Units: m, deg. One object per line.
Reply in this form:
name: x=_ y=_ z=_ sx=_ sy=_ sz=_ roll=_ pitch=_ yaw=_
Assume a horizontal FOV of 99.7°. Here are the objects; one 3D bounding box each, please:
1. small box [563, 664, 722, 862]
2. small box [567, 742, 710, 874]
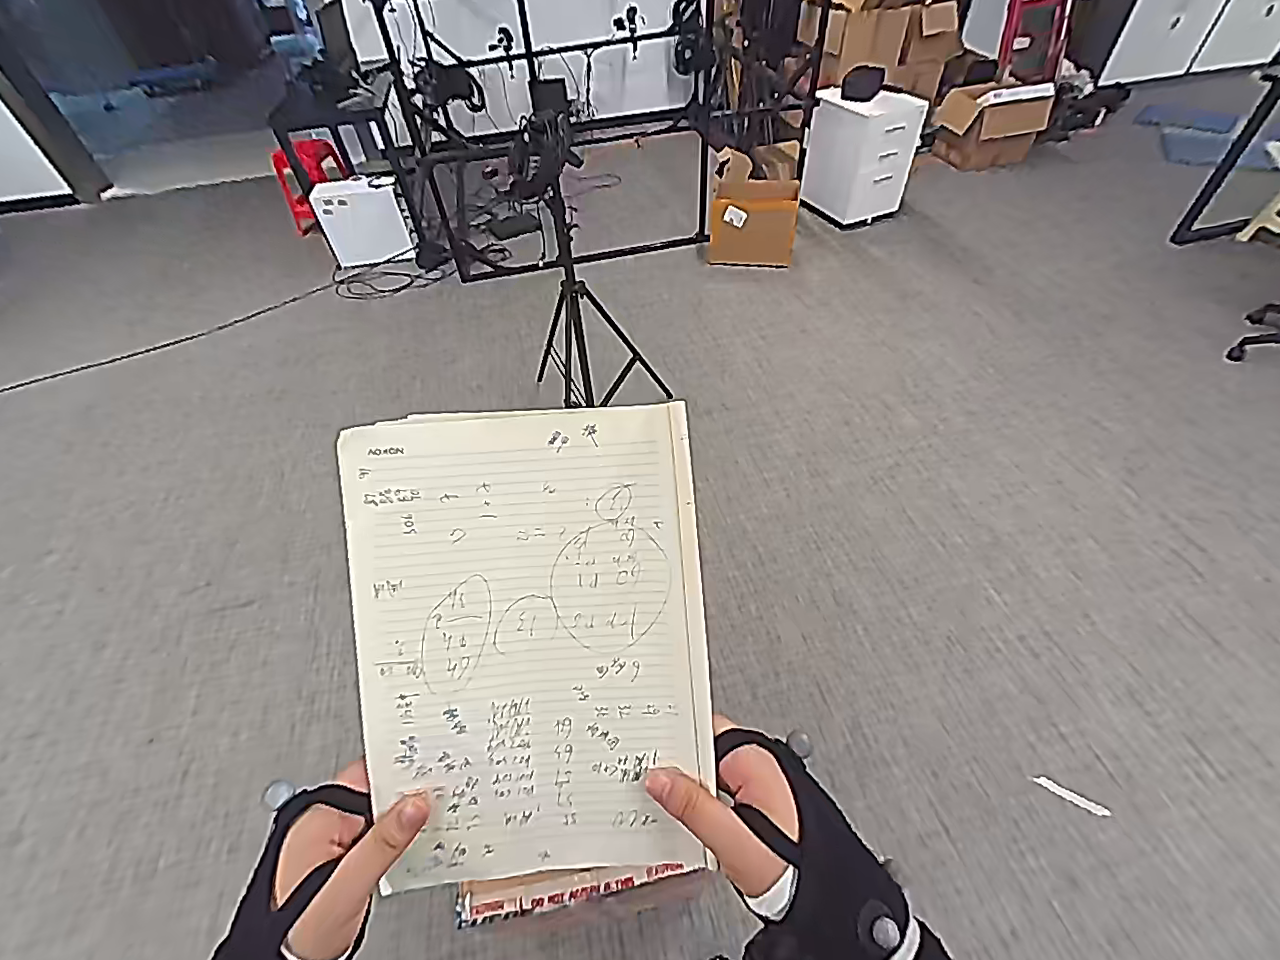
small box: x=-0.005 y=0.368 z=0.704 sx=0.168 sy=0.176 sz=0.179 roll=-9 pitch=50 yaw=-7
small box: x=-0.005 y=0.477 z=0.828 sx=0.179 sy=0.176 sz=0.168 roll=-12 pitch=50 yaw=-9
